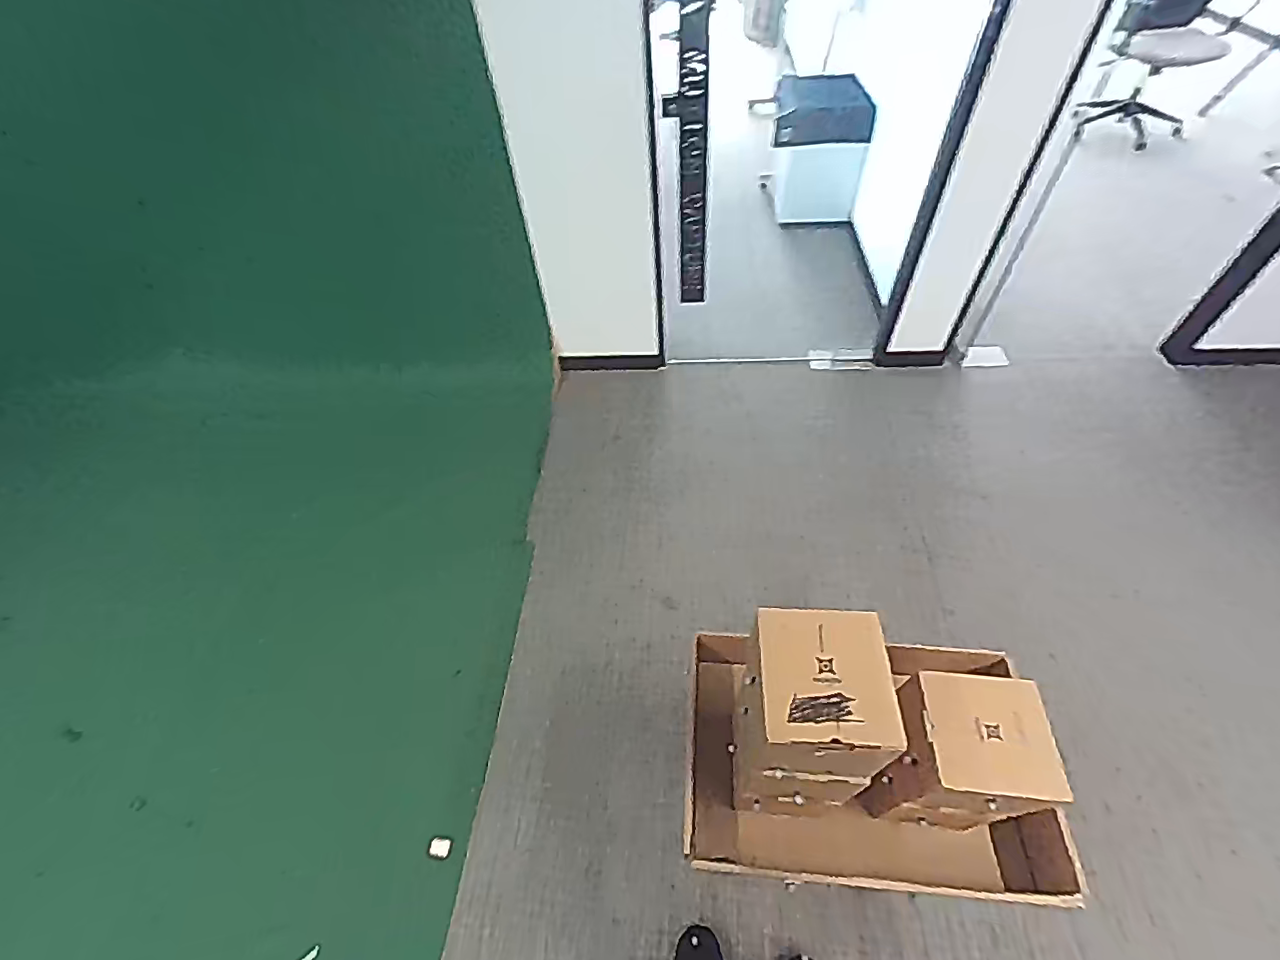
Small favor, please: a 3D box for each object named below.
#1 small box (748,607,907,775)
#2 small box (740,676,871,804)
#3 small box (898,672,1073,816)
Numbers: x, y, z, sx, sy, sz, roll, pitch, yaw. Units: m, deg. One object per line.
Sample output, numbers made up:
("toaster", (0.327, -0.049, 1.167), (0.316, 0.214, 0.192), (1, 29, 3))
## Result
("small box", (0.243, 0.296, 0.749), (0.168, 0.176, 0.179), (2, 51, 4))
("small box", (0.253, 0.403, 0.874), (0.168, 0.176, 0.179), (3, 52, 6))
("small box", (0.514, 0.417, 0.849), (0.179, 0.176, 0.168), (4, 54, 6))
